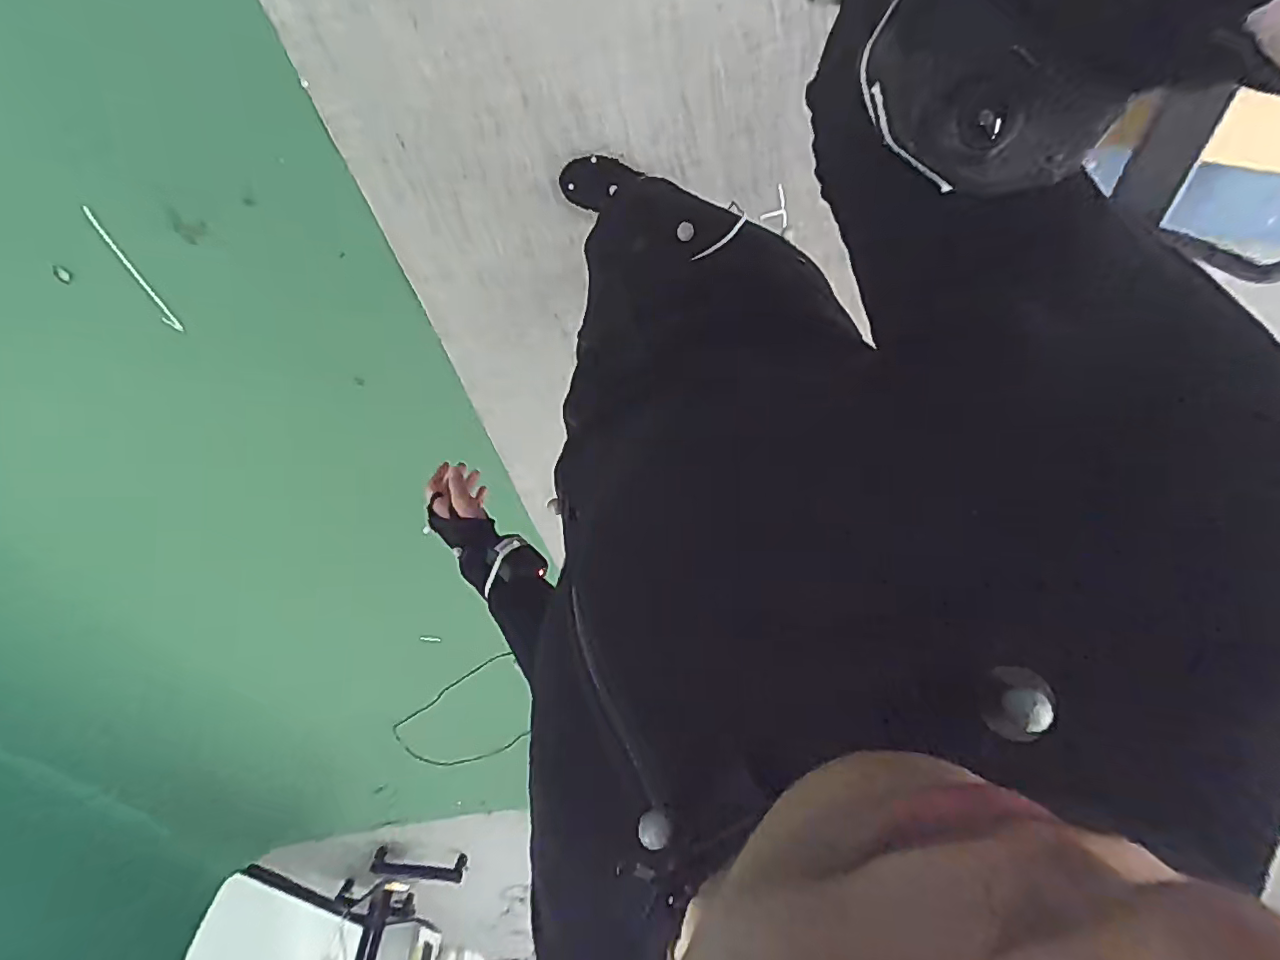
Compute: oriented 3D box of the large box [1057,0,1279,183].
[{"bbox_3d":[1.117,-0.742,0.990,0.408,0.320,0.320,4,126,-7],"label":"large box"}]
